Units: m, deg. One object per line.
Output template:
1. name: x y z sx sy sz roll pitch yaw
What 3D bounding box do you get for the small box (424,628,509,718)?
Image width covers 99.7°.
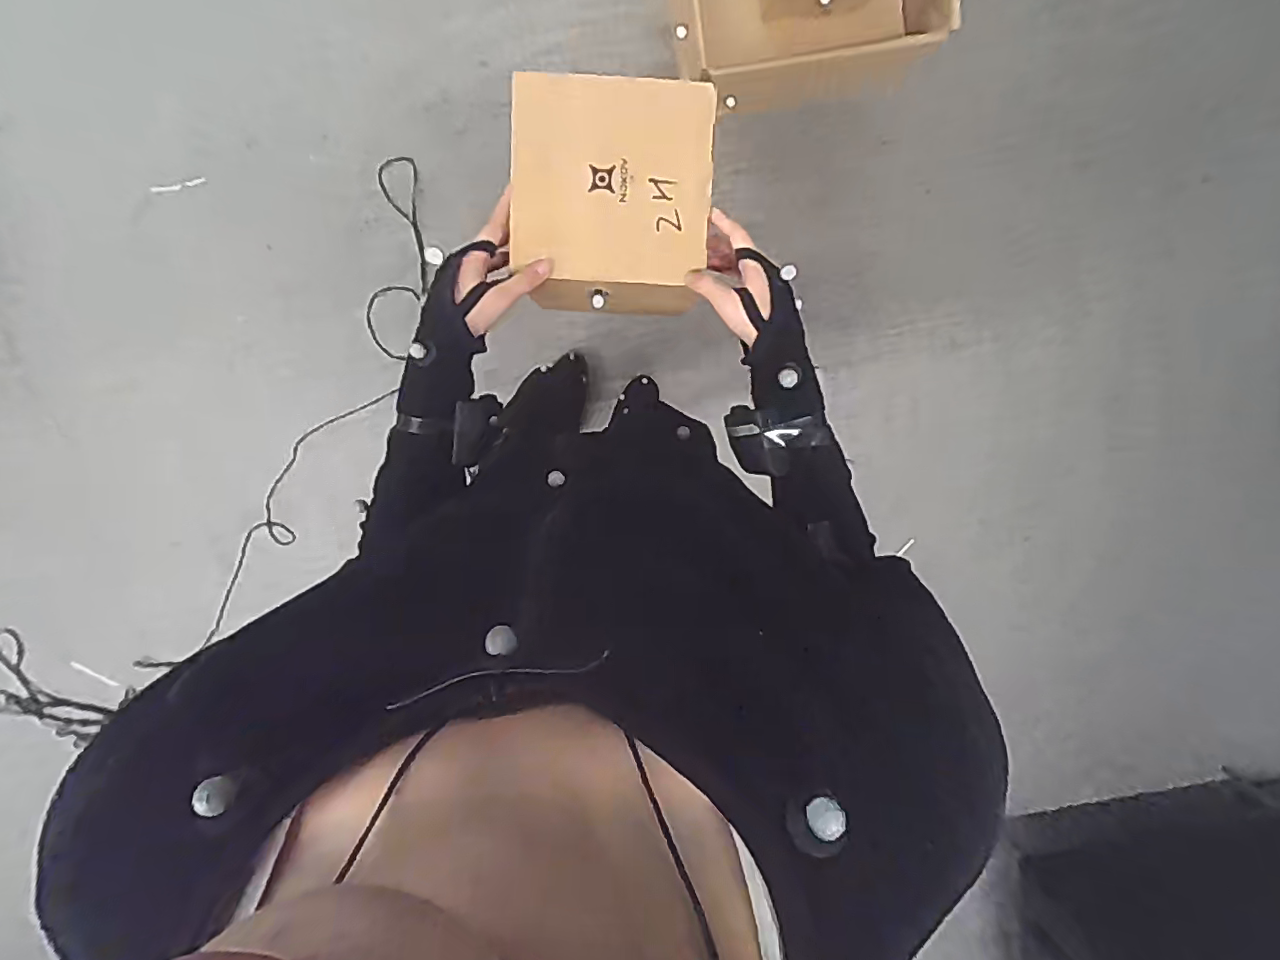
1. small box: -0.480 0.539 1.531 0.179 0.176 0.168 -11 102 1

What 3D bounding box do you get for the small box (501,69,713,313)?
1. small box: -0.031 -0.267 0.540 0.179 0.176 0.168 2 98 -2
